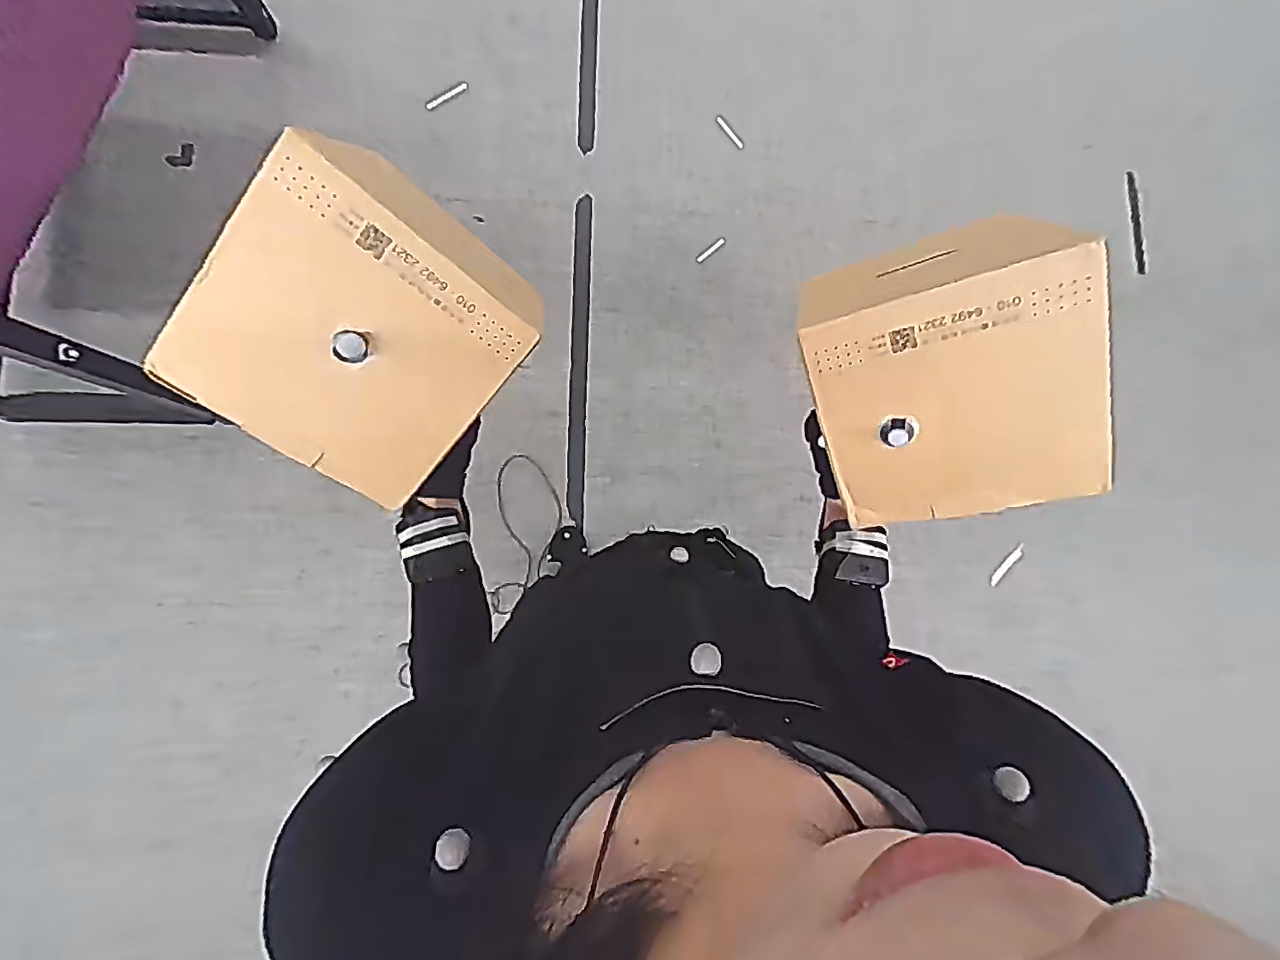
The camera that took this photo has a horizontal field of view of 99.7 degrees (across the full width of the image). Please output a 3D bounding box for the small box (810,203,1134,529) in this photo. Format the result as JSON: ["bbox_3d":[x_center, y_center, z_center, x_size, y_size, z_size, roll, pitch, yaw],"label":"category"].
[{"bbox_3d":[0.230,-0.089,0.407,0.168,0.179,0.176,-10,116,25],"label":"small box"}]
